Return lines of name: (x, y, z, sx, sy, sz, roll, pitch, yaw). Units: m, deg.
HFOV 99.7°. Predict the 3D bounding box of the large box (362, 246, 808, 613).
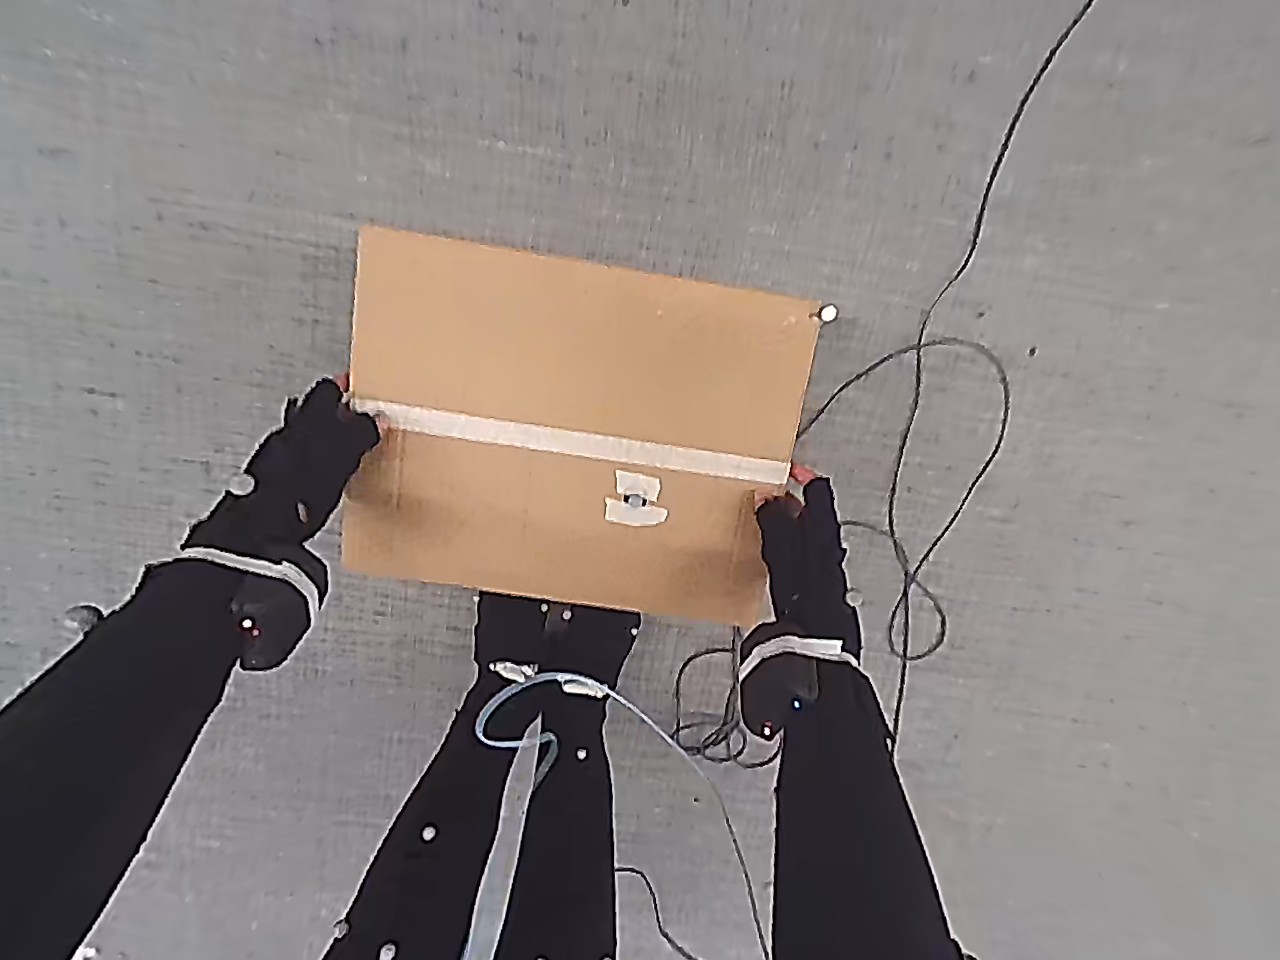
large box: (-0.065, -0.063, 0.664, 0.408, 0.320, 0.320, 8, 101, -3)
